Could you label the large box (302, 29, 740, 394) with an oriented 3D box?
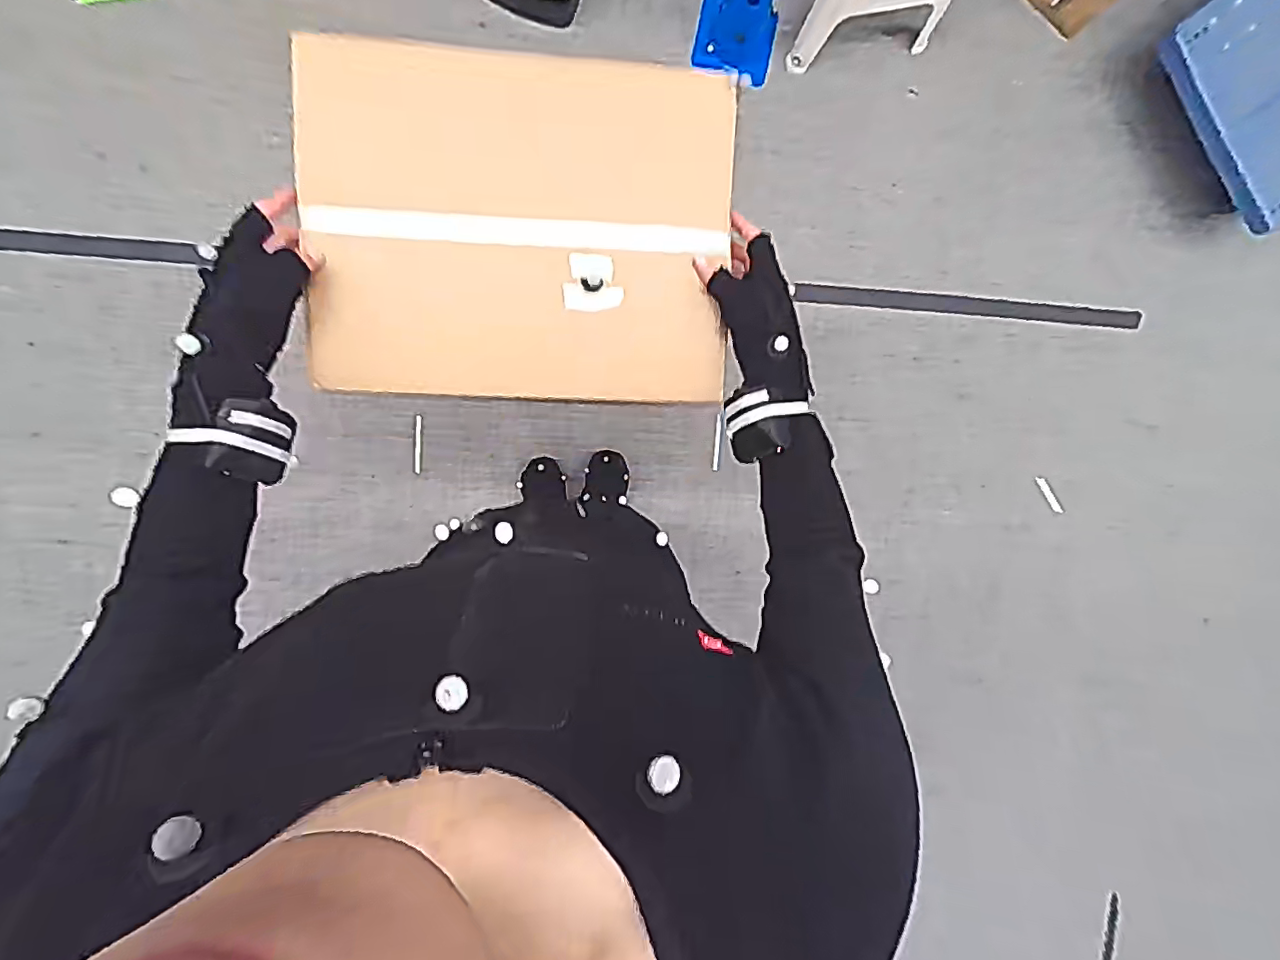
[{"bbox_3d":[-0.121,-0.266,0.662,0.408,0.320,0.320,1,99,-7],"label":"large box"}]
